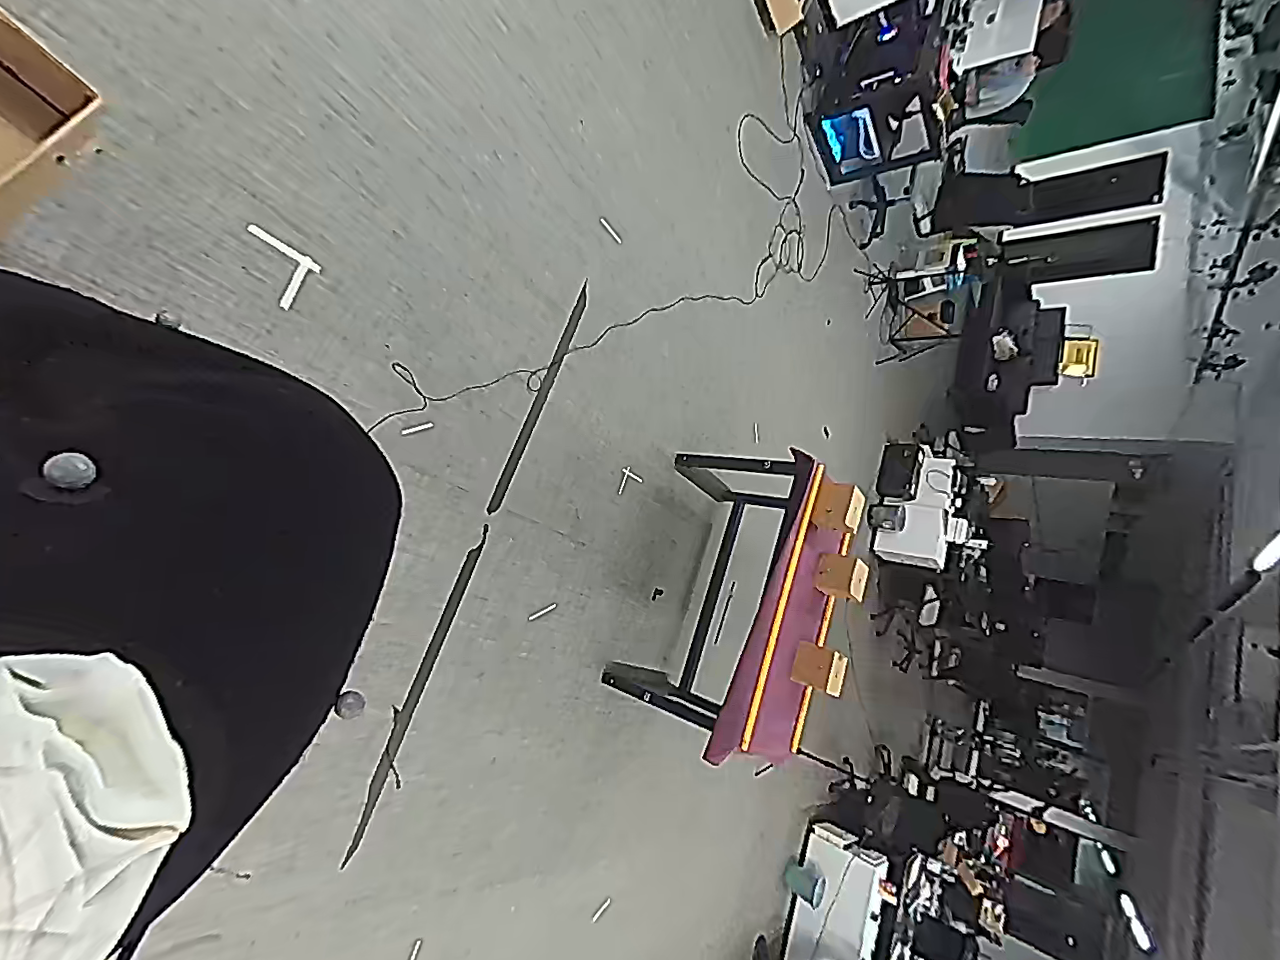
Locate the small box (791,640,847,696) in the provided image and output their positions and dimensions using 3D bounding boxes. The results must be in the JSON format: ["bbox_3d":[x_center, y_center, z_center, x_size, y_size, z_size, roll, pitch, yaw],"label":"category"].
[{"bbox_3d":[0.783,0.822,2.372,0.168,0.176,0.179,35,68,-45],"label":"small box"}]

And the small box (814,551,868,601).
[{"bbox_3d":[0.922,0.437,2.478,0.179,0.176,0.168,35,69,-44],"label":"small box"}]

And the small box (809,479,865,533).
[{"bbox_3d":[0.852,0.111,2.348,0.168,0.176,0.179,34,72,-47],"label":"small box"}]
